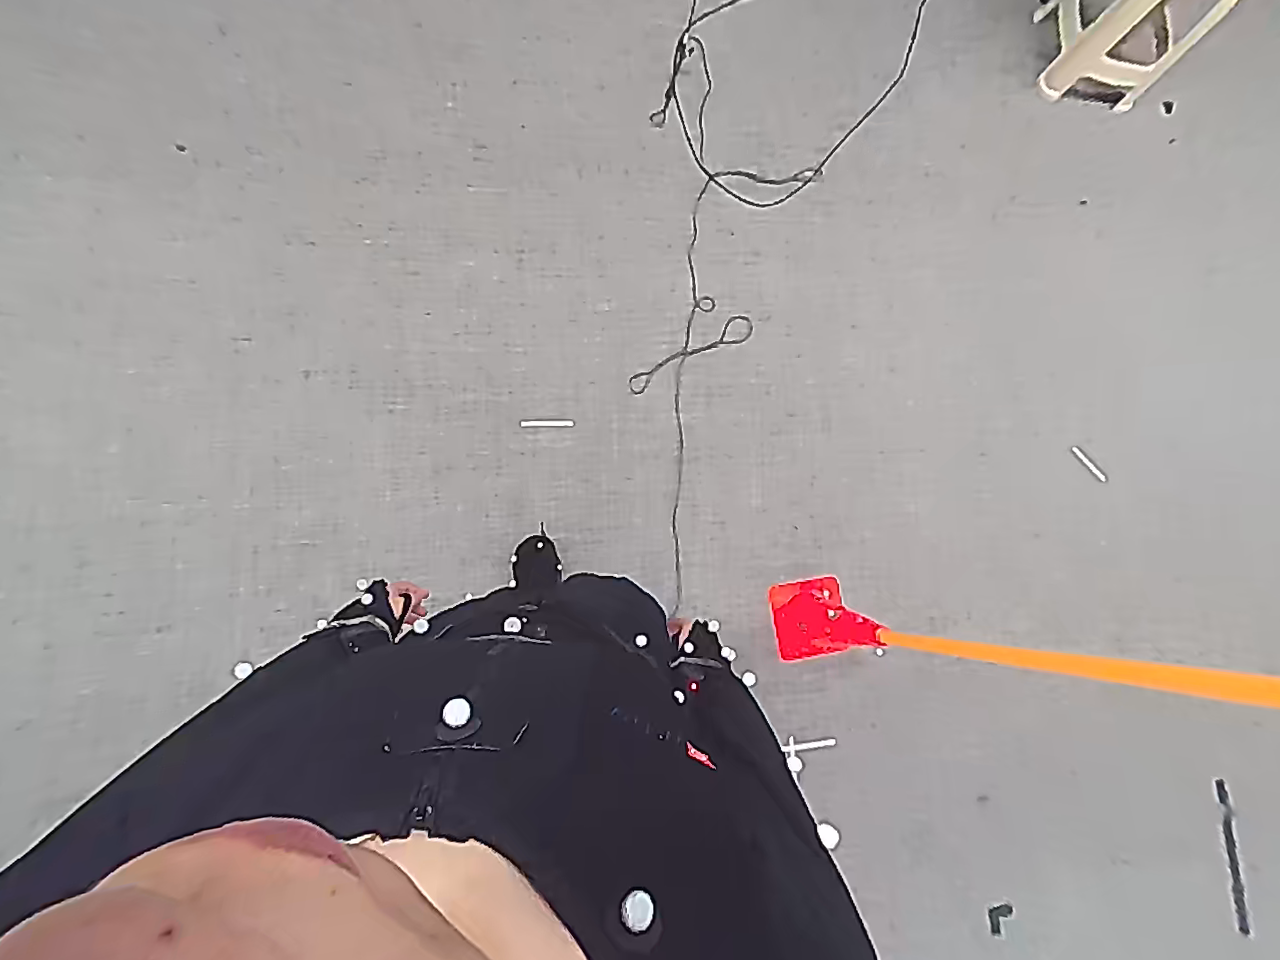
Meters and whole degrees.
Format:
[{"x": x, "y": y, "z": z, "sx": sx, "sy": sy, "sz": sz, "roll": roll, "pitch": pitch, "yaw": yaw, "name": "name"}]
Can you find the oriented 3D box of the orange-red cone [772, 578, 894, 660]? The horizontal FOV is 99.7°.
[{"x": 0.472, "y": 0.338, "z": 1.255, "sx": 0.199, "sy": 0.360, "sz": 0.198, "roll": -7, "pitch": 82, "yaw": -7, "name": "orange-red cone"}]
